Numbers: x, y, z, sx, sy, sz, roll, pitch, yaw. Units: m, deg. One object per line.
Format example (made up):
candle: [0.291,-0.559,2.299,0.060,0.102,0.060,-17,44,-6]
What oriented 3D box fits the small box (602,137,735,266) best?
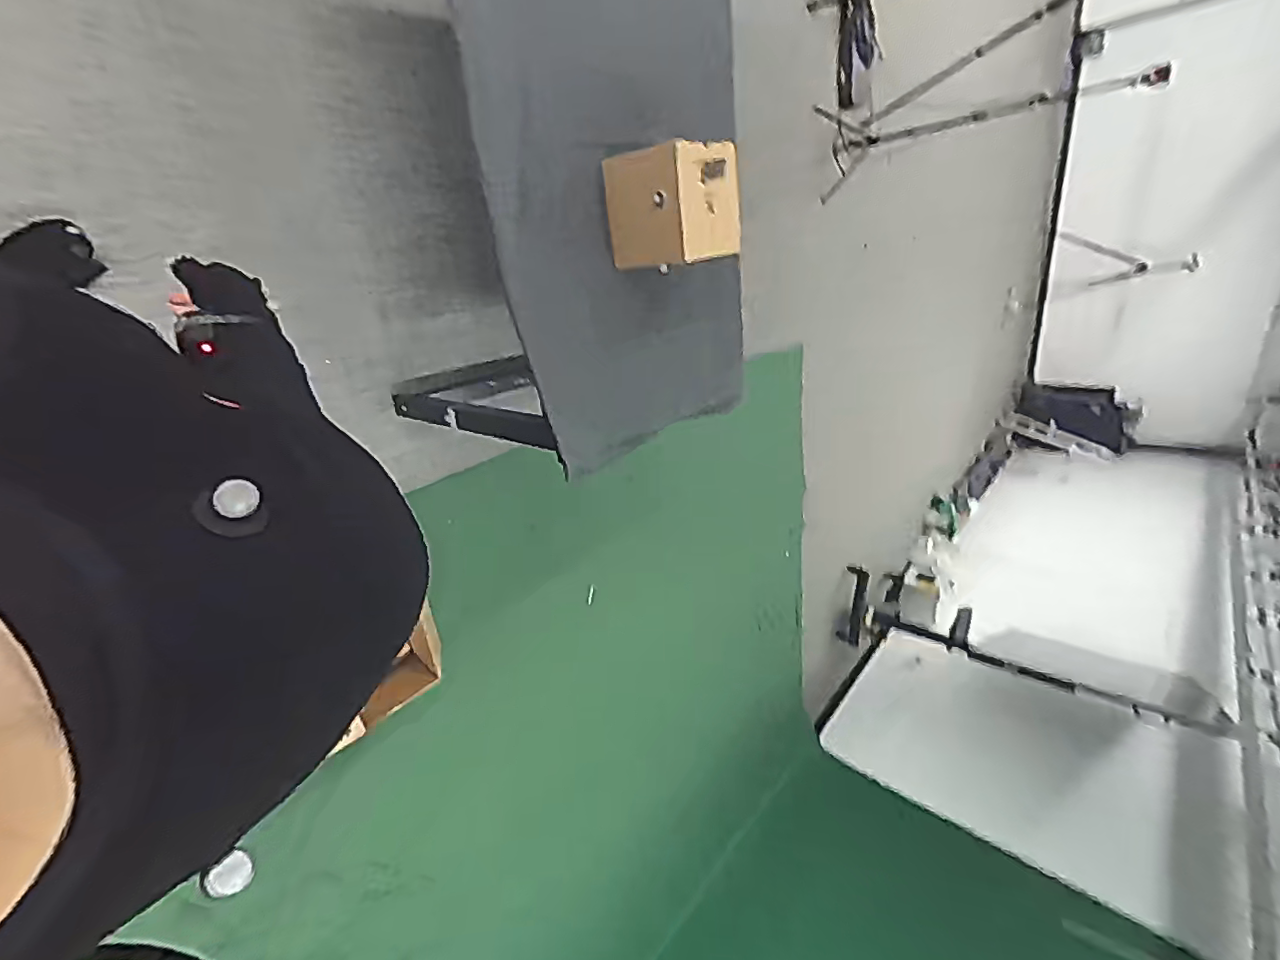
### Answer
small box: [0.049,-0.485,0.957,0.168,0.176,0.179,-29,122,-40]
